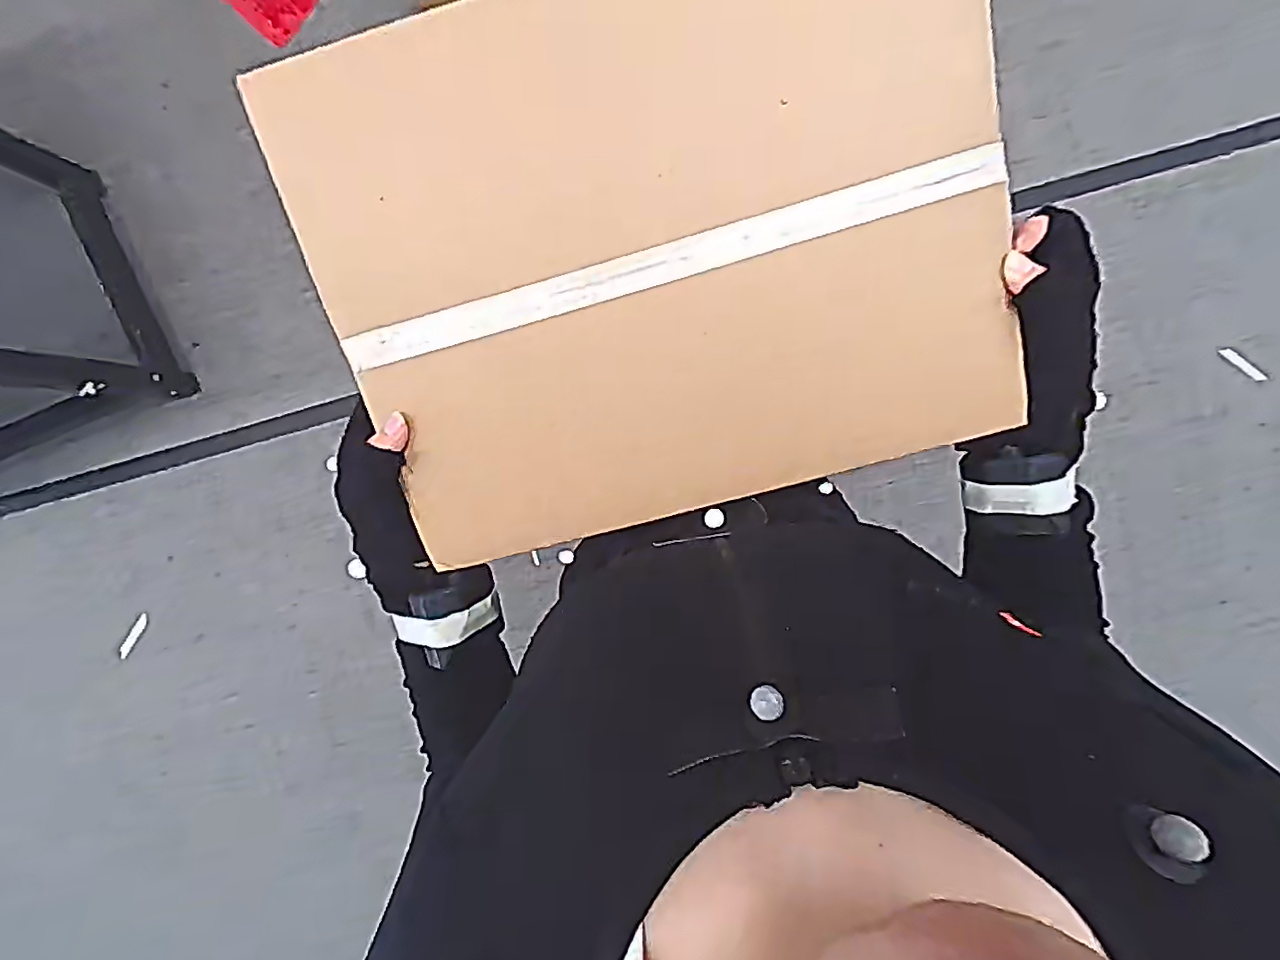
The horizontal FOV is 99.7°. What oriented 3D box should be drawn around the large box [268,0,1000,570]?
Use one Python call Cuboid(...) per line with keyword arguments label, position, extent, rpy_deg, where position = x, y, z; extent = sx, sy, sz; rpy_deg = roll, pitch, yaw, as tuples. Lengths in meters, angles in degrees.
Cuboid(label="large box", position=(0.013, -0.168, 0.480), extent=(0.408, 0.320, 0.320), rpy_deg=(-15, 104, 5))
